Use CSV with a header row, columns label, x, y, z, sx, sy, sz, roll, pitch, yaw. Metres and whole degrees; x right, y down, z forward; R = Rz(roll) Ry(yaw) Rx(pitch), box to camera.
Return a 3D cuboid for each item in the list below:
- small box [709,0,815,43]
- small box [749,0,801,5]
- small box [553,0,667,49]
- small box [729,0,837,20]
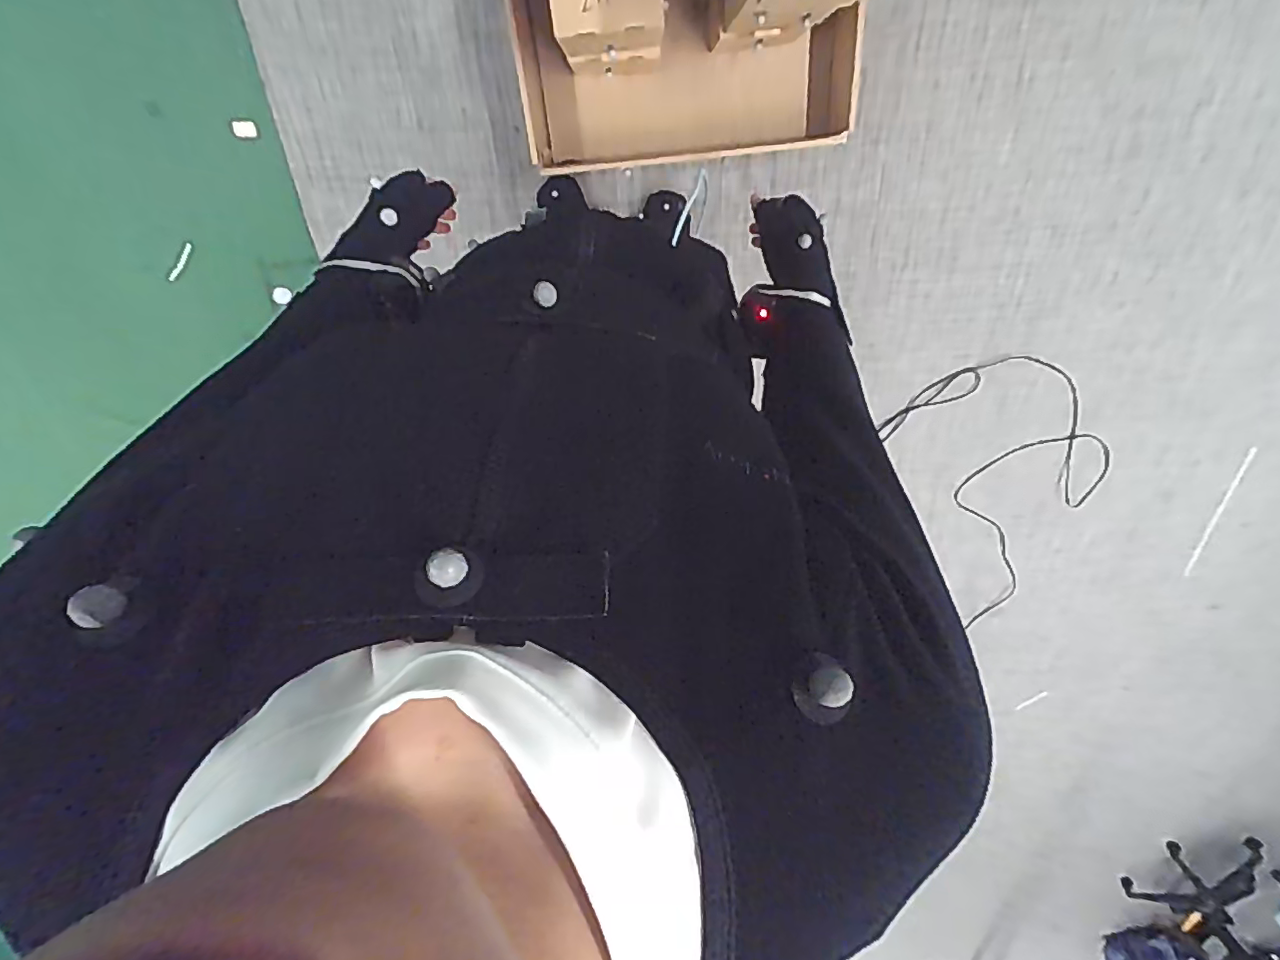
label,x,y,z,sx,sy,sz,roll,pitch,yaw
small box,0.209,-0.889,0.942,0.168,0.176,0.179,-7,121,7
small box,0.216,-0.714,0.664,0.168,0.176,0.179,-3,121,2
small box,-0.051,-0.782,0.814,0.168,0.176,0.179,-5,121,3
small box,0.219,-0.797,0.785,0.168,0.176,0.179,-4,121,4
